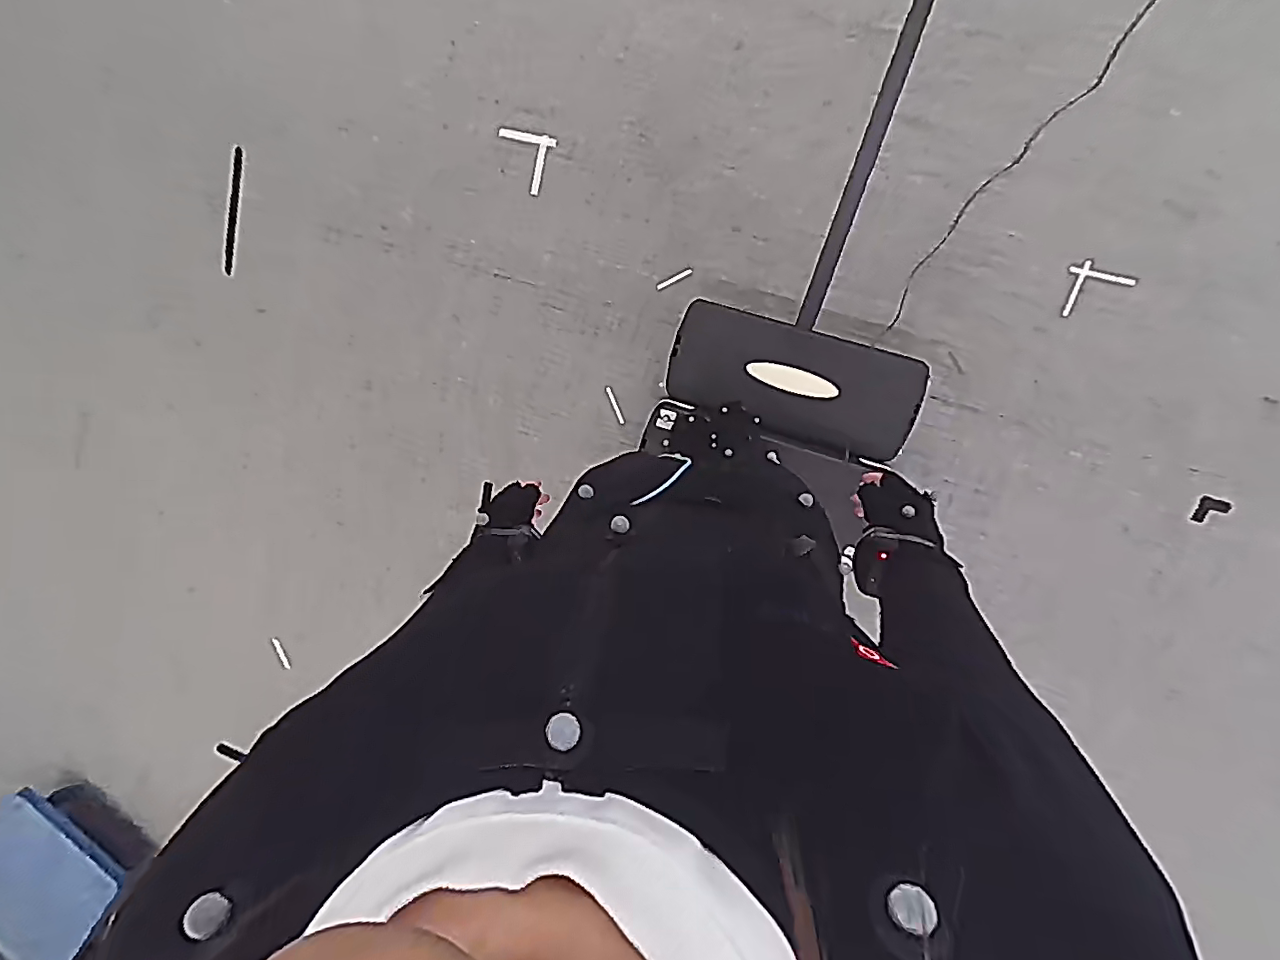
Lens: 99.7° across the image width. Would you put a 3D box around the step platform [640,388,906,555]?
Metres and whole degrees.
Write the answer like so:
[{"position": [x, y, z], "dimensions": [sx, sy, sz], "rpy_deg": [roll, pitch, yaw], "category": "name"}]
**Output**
[{"position": [0.347, -0.032, 1.487], "dimensions": [0.684, 0.204, 0.286], "rpy_deg": [18, 102, 8], "category": "step platform"}]
